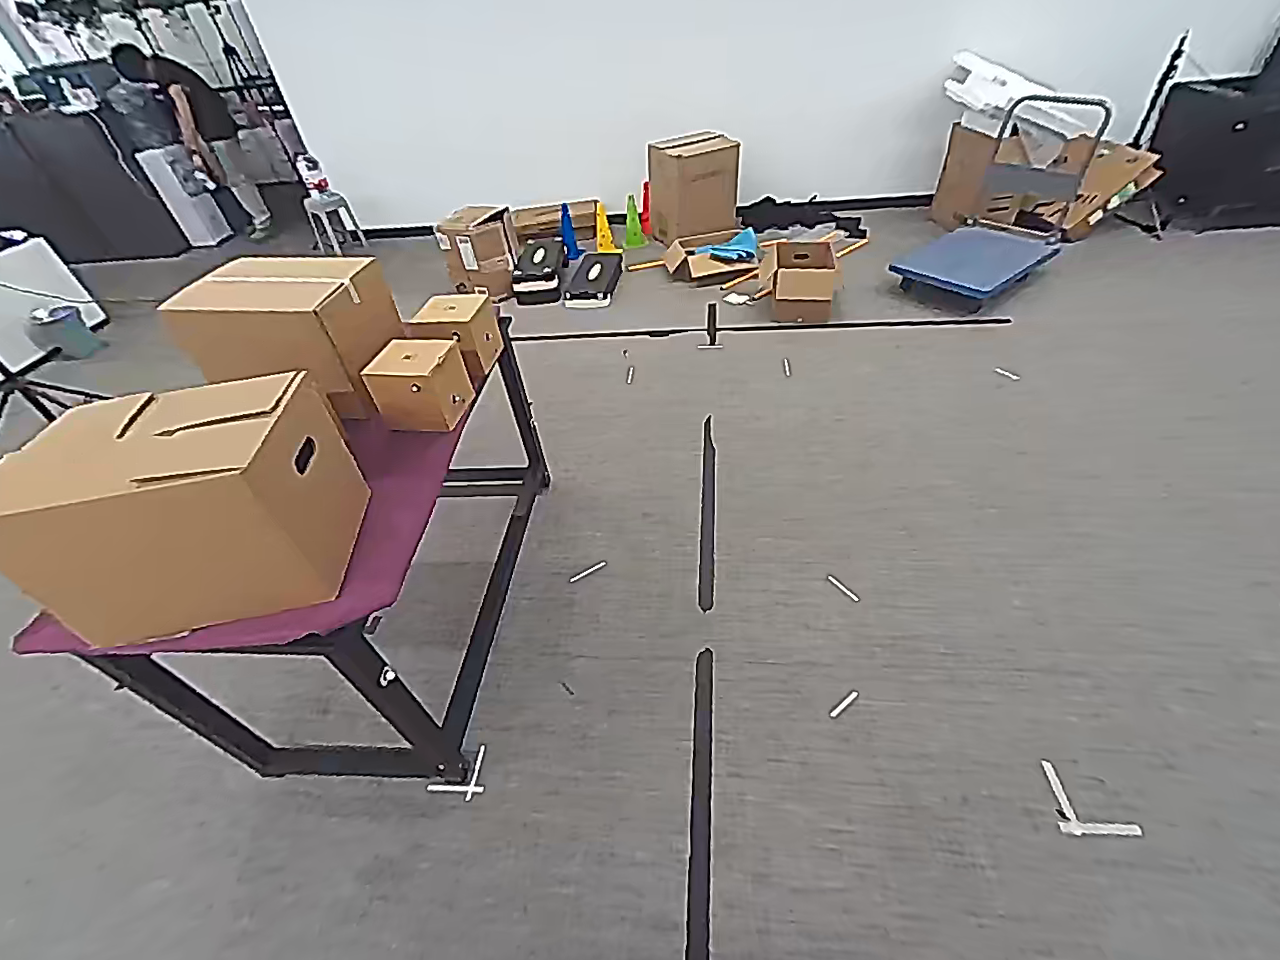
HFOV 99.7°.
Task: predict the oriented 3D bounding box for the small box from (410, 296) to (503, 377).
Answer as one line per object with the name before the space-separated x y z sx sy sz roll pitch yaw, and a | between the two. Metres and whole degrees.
small box | -0.508 -0.404 1.533 0.179 0.176 0.168 1 42 10
